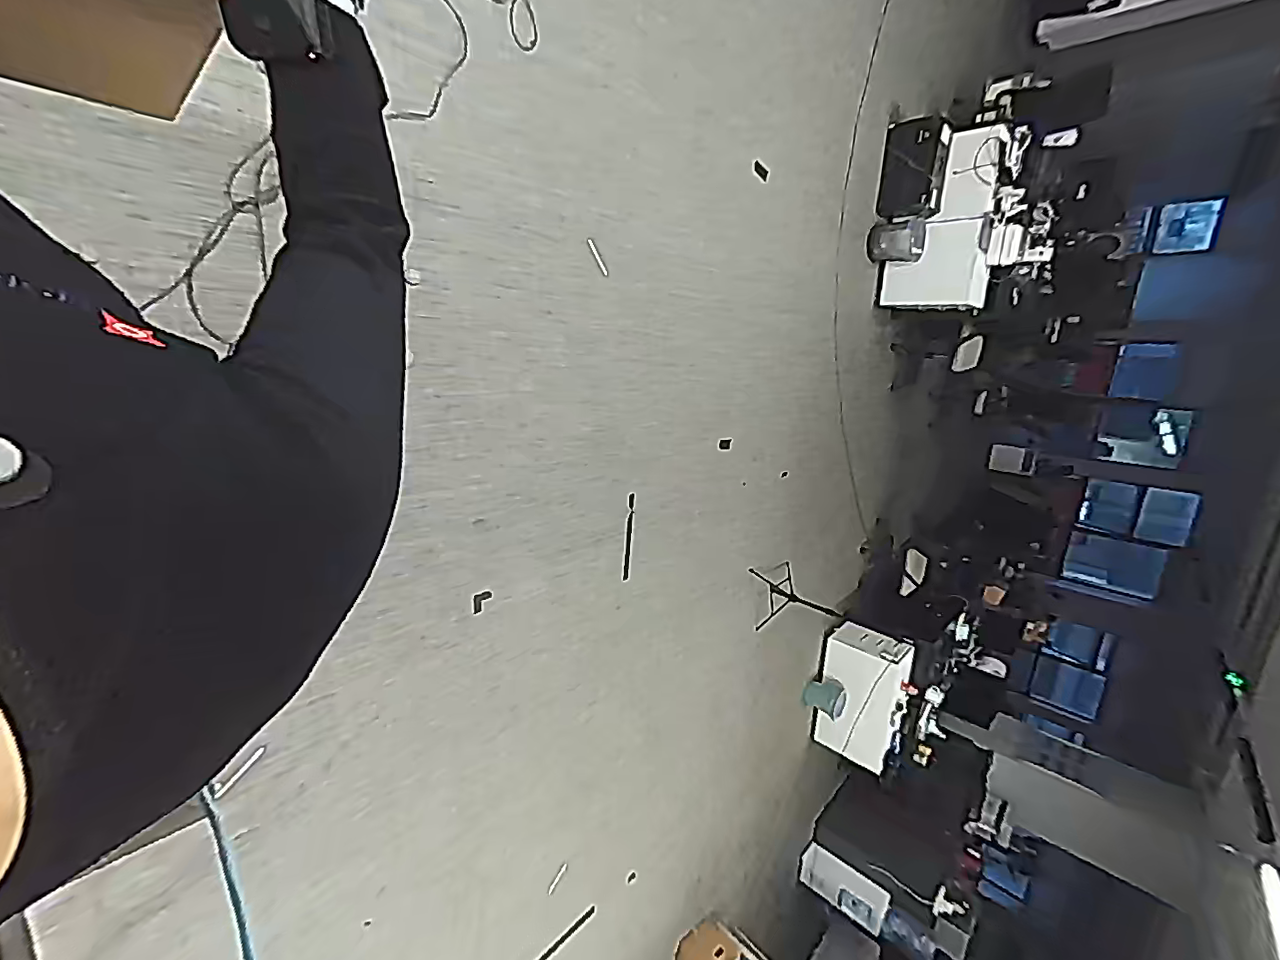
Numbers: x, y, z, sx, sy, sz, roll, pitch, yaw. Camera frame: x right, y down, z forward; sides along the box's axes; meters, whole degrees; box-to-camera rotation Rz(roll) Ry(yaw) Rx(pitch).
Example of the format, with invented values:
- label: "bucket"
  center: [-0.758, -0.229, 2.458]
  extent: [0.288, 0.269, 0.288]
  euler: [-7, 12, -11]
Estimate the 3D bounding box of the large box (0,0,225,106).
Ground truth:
- label: "large box"
  center: [-0.504, -0.472, 0.281]
  extent: [0.408, 0.320, 0.320]
  euler: [-12, 108, -46]
